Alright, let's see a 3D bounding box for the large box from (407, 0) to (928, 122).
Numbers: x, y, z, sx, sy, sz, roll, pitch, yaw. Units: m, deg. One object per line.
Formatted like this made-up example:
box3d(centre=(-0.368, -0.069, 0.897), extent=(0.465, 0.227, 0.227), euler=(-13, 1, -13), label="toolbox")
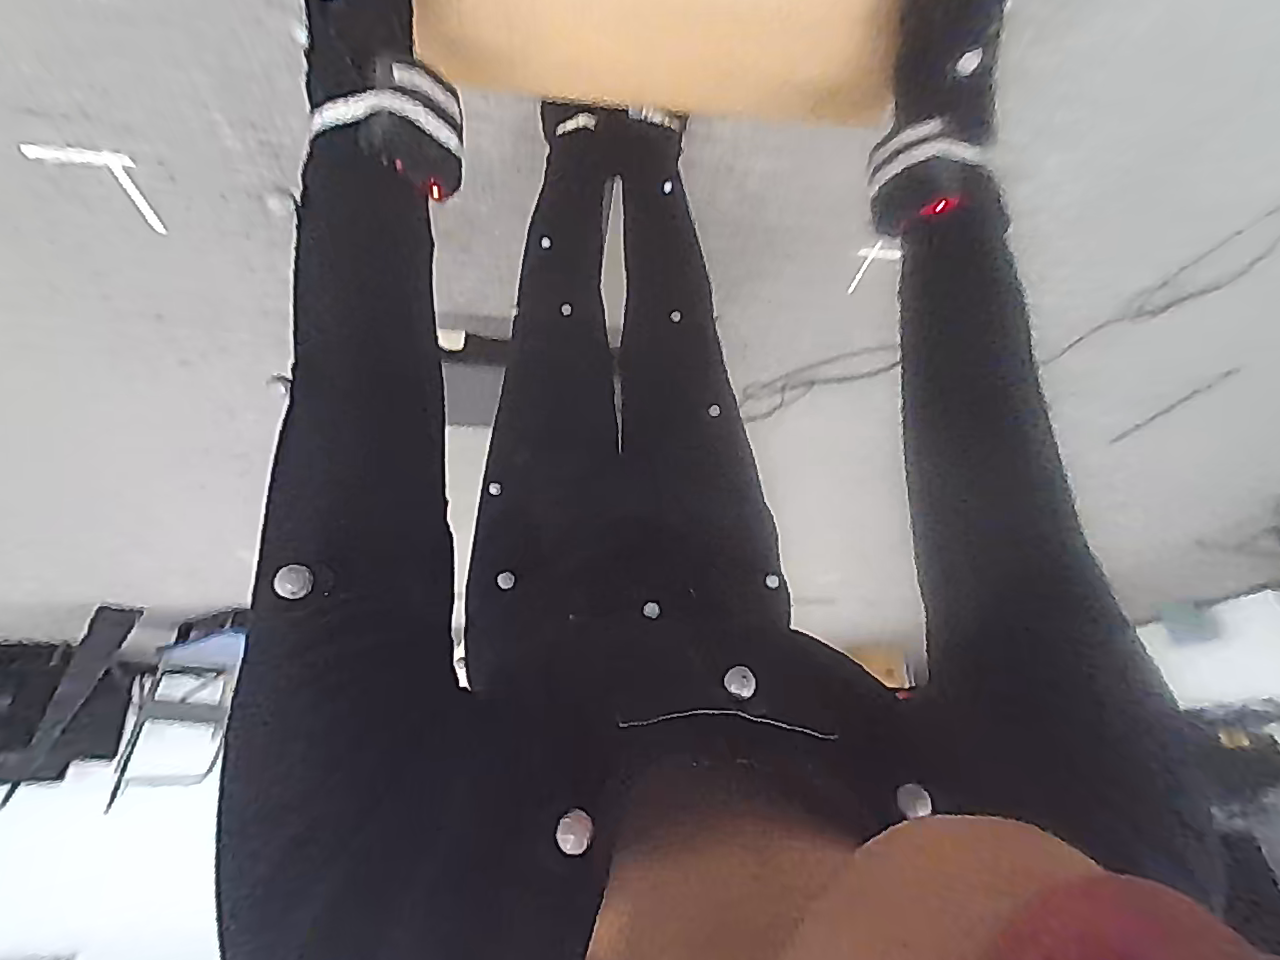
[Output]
box3d(centre=(0.022, -0.529, 0.437), extent=(0.408, 0.320, 0.320), euler=(1, 142, -6), label="large box")
